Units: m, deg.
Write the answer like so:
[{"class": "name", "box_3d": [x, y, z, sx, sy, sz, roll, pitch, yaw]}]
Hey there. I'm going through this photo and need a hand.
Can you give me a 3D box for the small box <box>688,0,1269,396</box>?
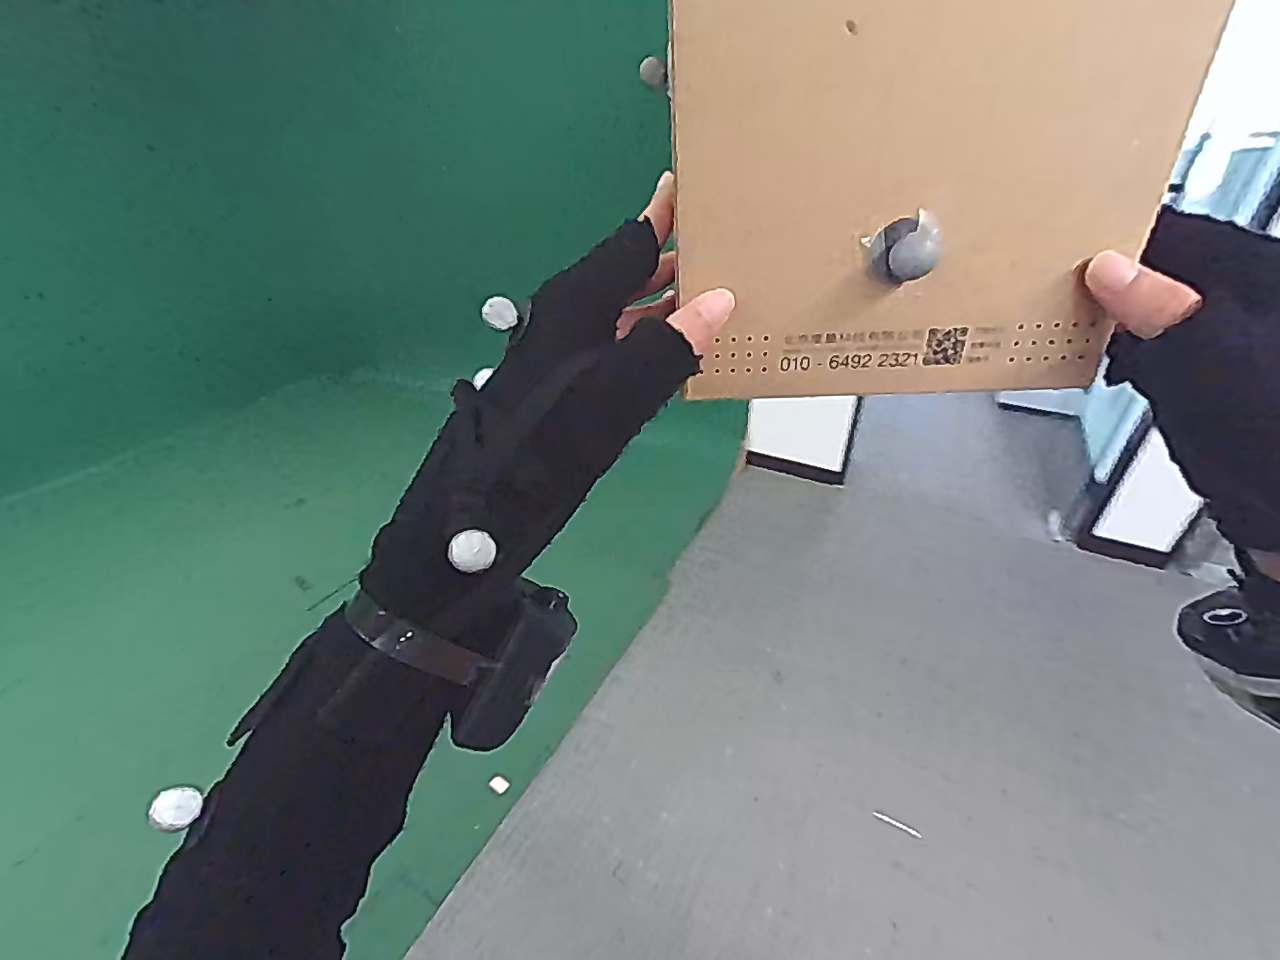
[{"class": "small box", "box_3d": [0.106, -0.147, 0.252, 0.168, 0.176, 0.179, -1, 31, 6]}]
